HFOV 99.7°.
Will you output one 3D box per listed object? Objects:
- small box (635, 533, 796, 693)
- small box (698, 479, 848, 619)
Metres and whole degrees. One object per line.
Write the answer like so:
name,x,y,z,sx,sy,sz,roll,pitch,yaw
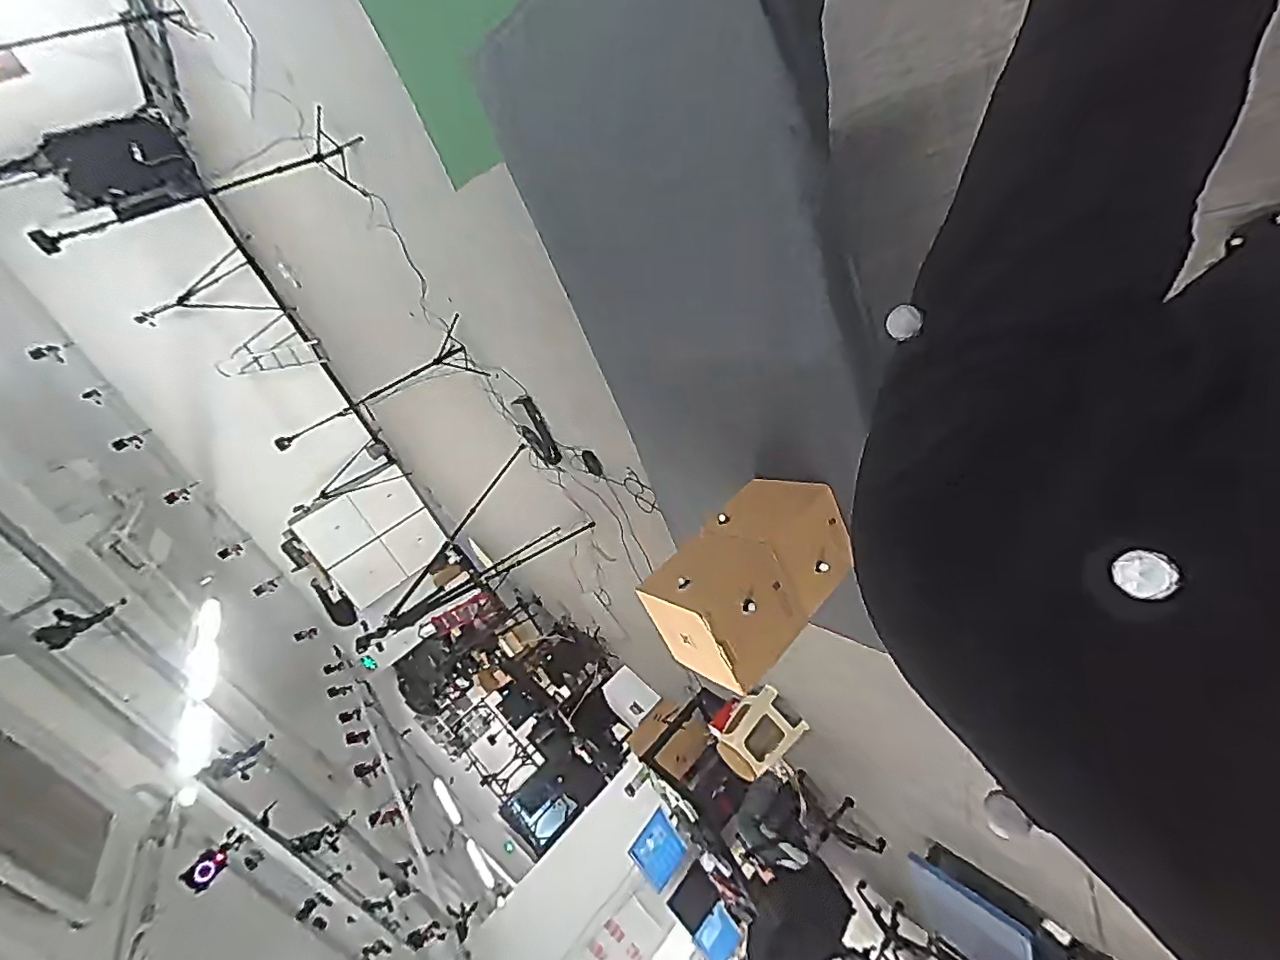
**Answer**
small box,0.130,0.204,0.883,0.179,0.176,0.168,5,127,57
small box,0.242,0.112,0.956,0.179,0.176,0.168,6,129,56
